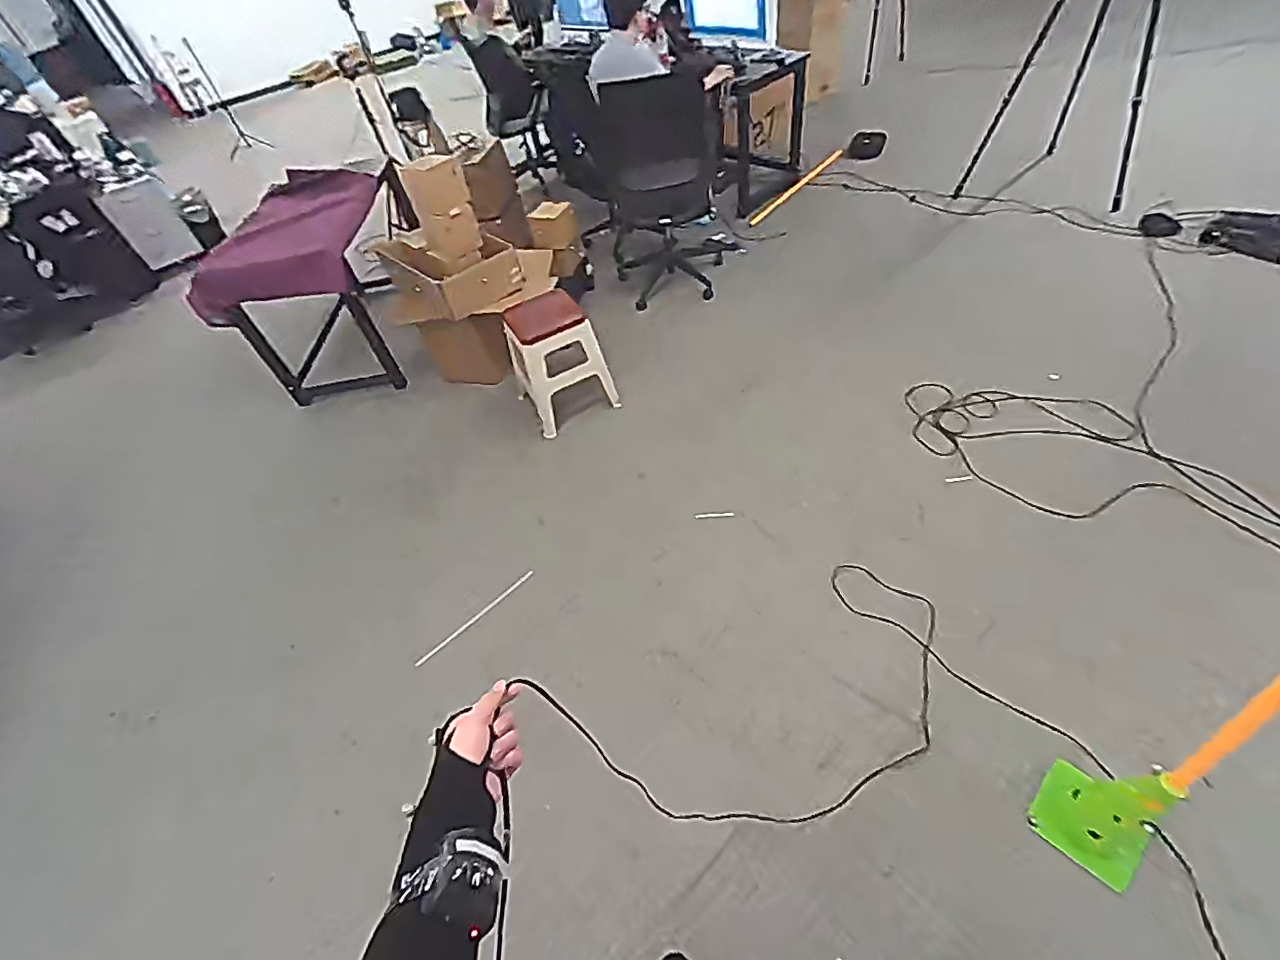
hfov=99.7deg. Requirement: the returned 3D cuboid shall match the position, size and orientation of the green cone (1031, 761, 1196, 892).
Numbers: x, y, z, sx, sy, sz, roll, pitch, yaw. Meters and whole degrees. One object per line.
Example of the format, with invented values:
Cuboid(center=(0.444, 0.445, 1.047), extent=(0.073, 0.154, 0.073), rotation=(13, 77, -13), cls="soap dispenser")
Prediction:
Cuboid(center=(1.018, 0.675, 1.118), extent=(0.200, 0.368, 0.202), rotation=(33, 61, 32), cls="green cone")
